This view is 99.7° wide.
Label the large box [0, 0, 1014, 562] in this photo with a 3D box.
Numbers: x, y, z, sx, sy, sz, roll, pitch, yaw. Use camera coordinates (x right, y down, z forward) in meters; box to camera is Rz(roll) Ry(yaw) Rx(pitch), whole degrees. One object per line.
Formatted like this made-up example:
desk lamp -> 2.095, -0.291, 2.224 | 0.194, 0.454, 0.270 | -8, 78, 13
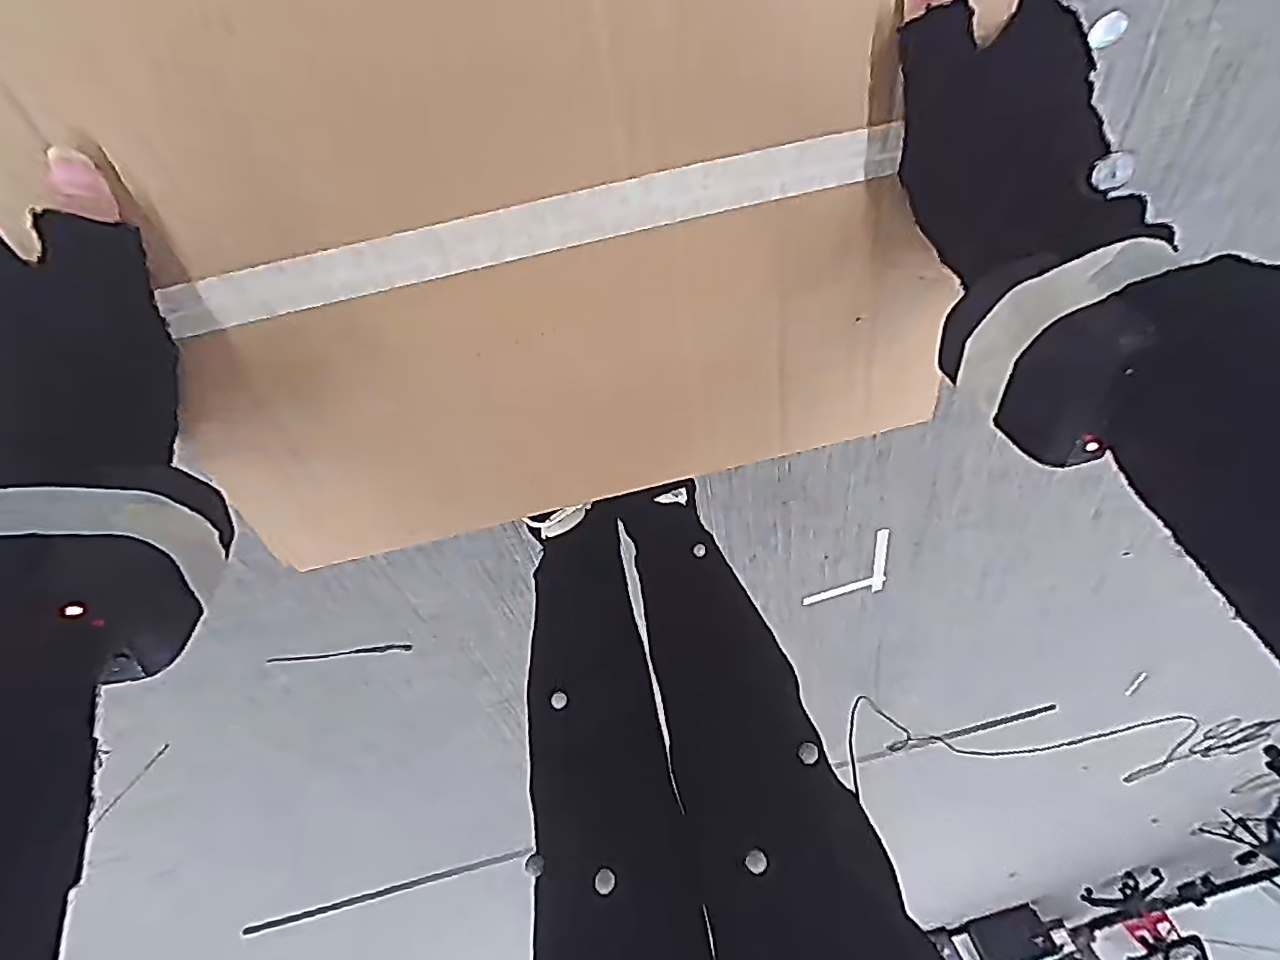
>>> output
large box -> -0.061, -0.200, 0.363 | 0.408, 0.320, 0.320 | -14, 130, -2
